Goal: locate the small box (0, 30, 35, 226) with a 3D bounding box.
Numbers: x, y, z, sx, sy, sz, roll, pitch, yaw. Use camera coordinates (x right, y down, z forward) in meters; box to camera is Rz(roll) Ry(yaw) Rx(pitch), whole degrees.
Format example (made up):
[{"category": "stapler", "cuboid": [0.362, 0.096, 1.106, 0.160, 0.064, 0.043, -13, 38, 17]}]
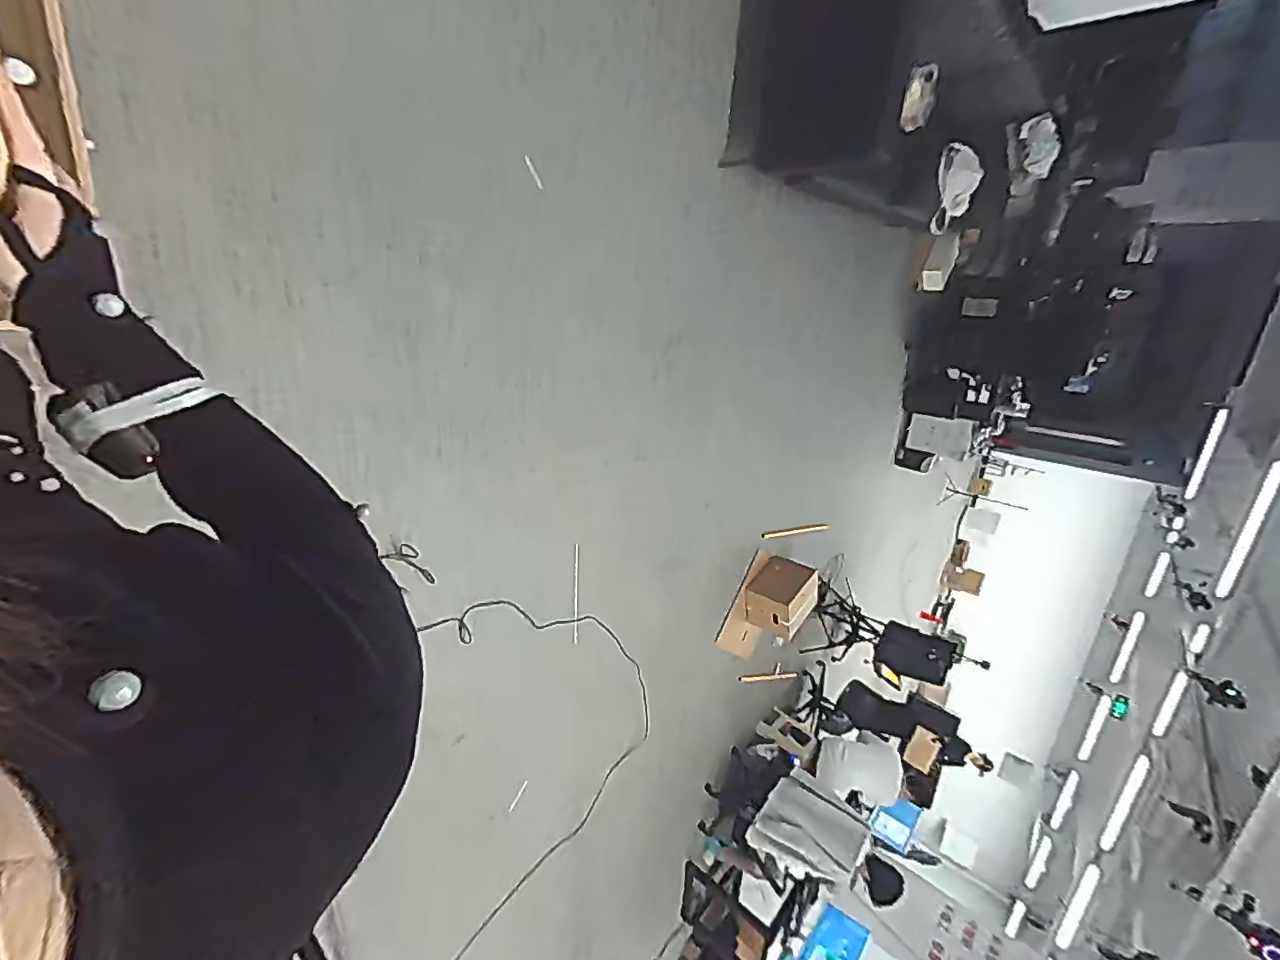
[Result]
[{"category": "small box", "cuboid": [-0.498, -0.267, 0.310, 0.179, 0.176, 0.168, -14, 136, -40]}]
